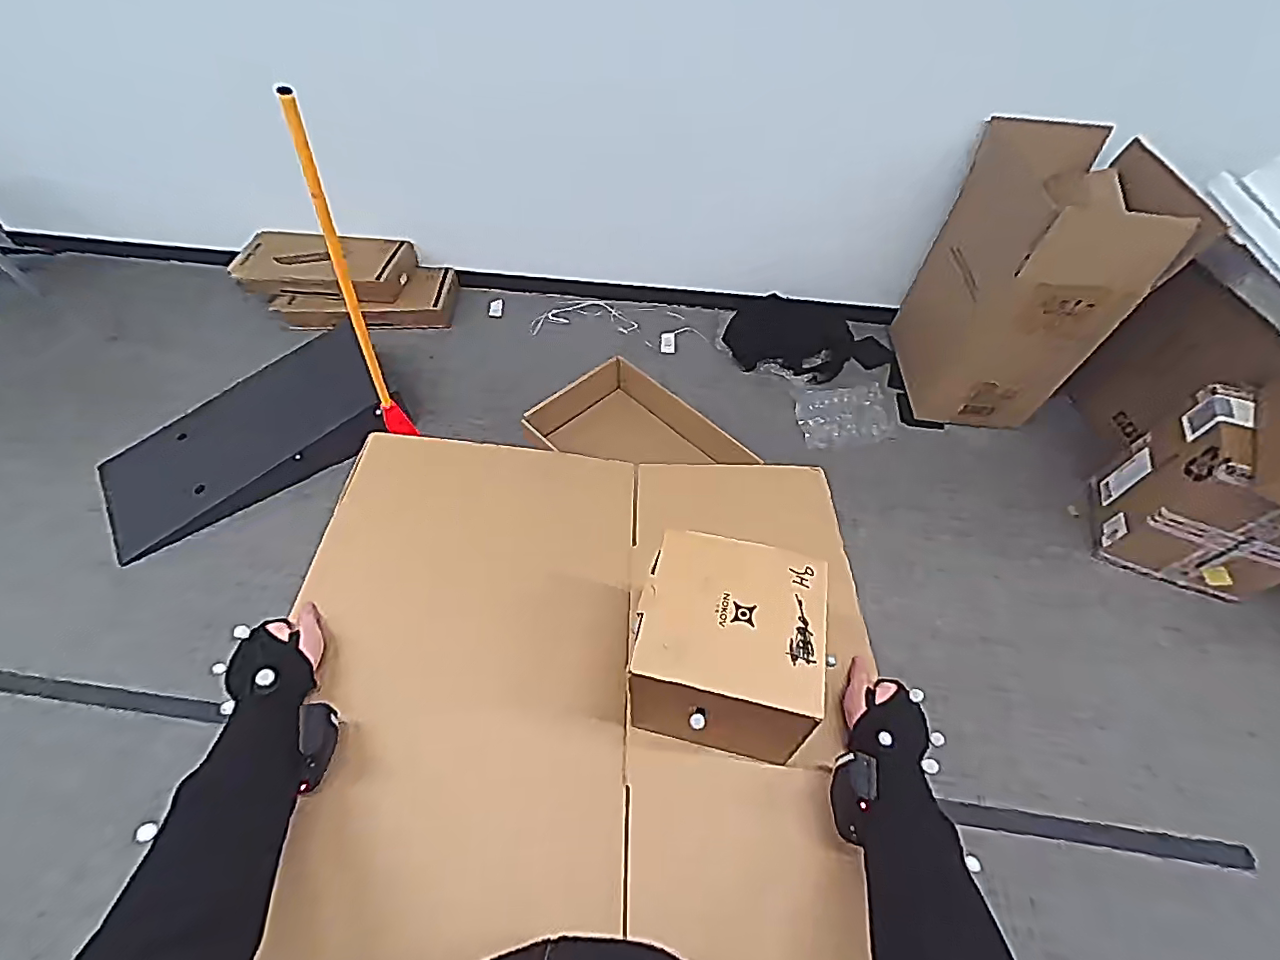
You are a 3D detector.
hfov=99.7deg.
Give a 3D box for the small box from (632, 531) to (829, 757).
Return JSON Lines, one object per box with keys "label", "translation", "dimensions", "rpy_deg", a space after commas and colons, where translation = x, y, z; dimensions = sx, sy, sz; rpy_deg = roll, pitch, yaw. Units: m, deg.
{"label": "small box", "translation": [0.097, 0.182, 0.593], "dimensions": [0.179, 0.176, 0.168], "rpy_deg": [10, 51, 10]}
